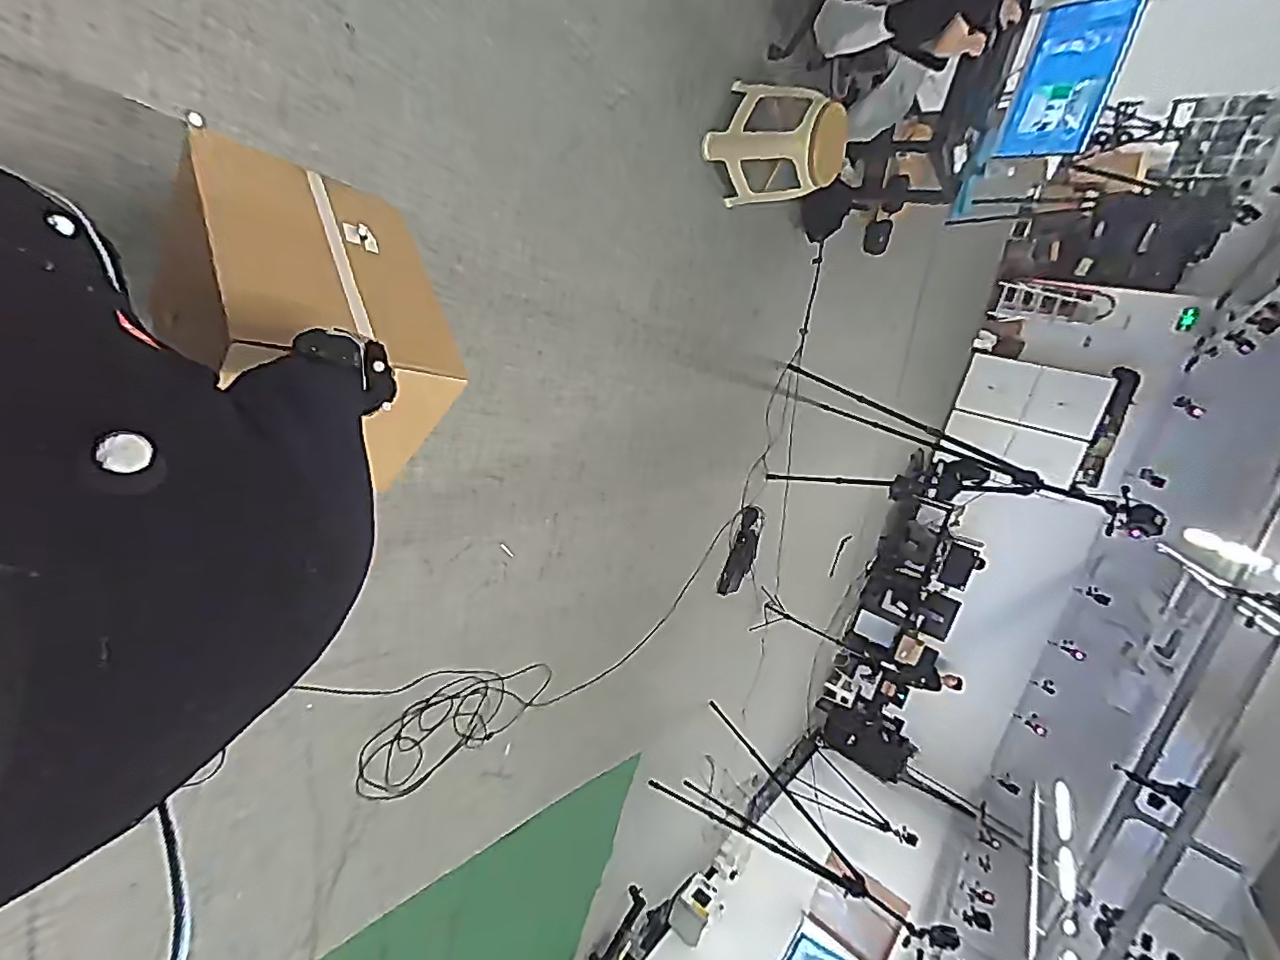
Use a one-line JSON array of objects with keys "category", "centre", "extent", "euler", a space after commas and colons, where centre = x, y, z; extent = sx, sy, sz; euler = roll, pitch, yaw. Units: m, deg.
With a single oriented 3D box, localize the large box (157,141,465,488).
[{"category": "large box", "centre": [-0.553, -0.235, 0.893], "extent": [0.320, 0.408, 0.320], "euler": [-40, 156, 32]}]
